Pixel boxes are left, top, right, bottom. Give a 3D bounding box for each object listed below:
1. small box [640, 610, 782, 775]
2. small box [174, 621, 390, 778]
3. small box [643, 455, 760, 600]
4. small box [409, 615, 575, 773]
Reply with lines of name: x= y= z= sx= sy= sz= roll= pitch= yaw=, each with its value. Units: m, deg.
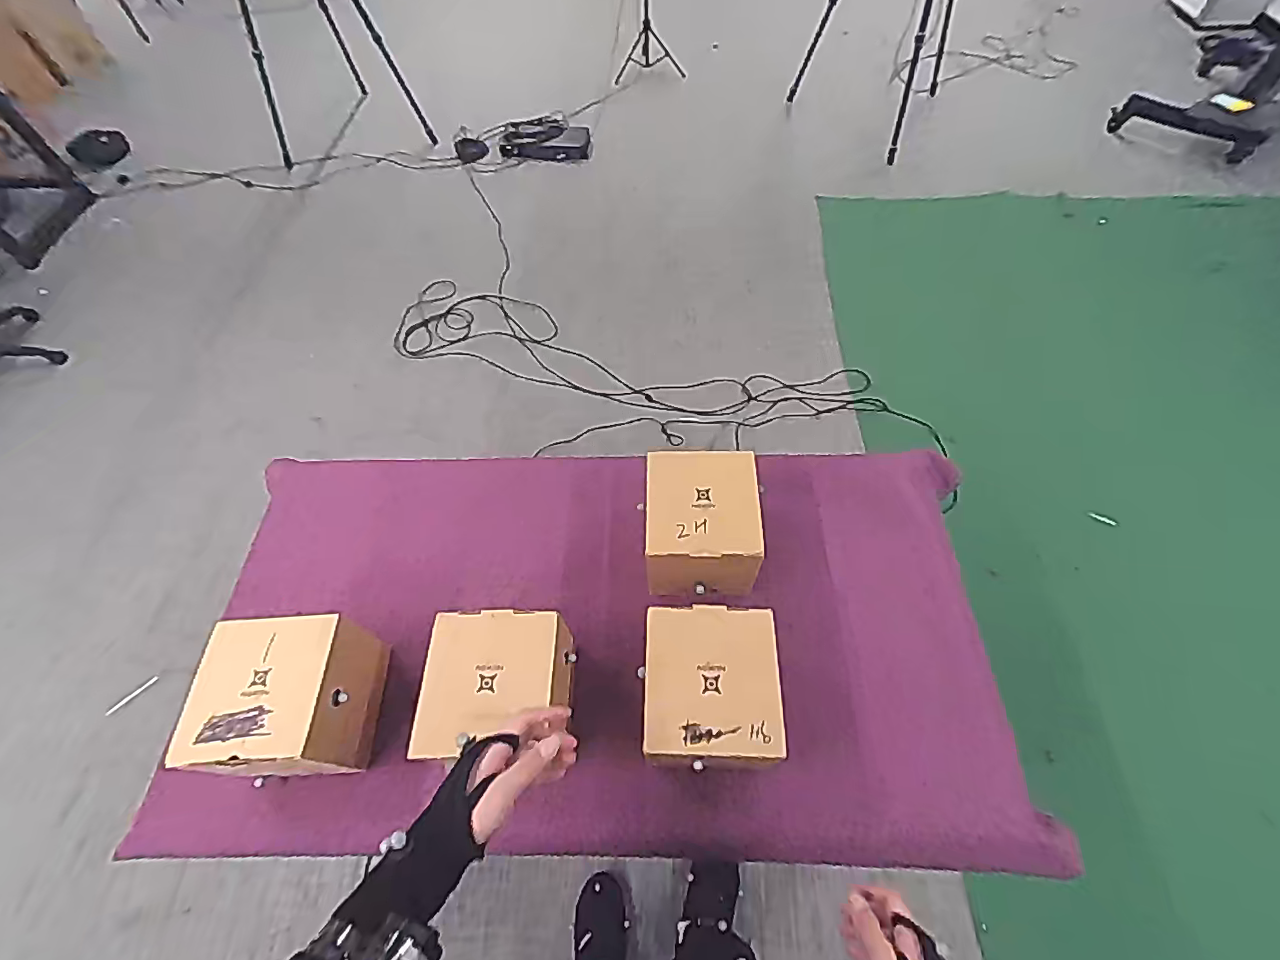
small box: x=0.089 y=0.289 z=0.731 sx=0.168 sy=0.176 sz=0.179 roll=0 pitch=58 yaw=5
small box: x=-0.473 y=0.311 z=0.752 sx=0.168 sy=0.176 sz=0.179 roll=-4 pitch=56 yaw=1
small box: x=0.092 y=0.078 z=0.861 sx=0.168 sy=0.176 sz=0.179 roll=-1 pitch=59 yaw=4
small box: x=-0.187 y=0.298 z=0.745 sx=0.168 sy=0.176 sz=0.179 roll=-2 pitch=59 yaw=4
